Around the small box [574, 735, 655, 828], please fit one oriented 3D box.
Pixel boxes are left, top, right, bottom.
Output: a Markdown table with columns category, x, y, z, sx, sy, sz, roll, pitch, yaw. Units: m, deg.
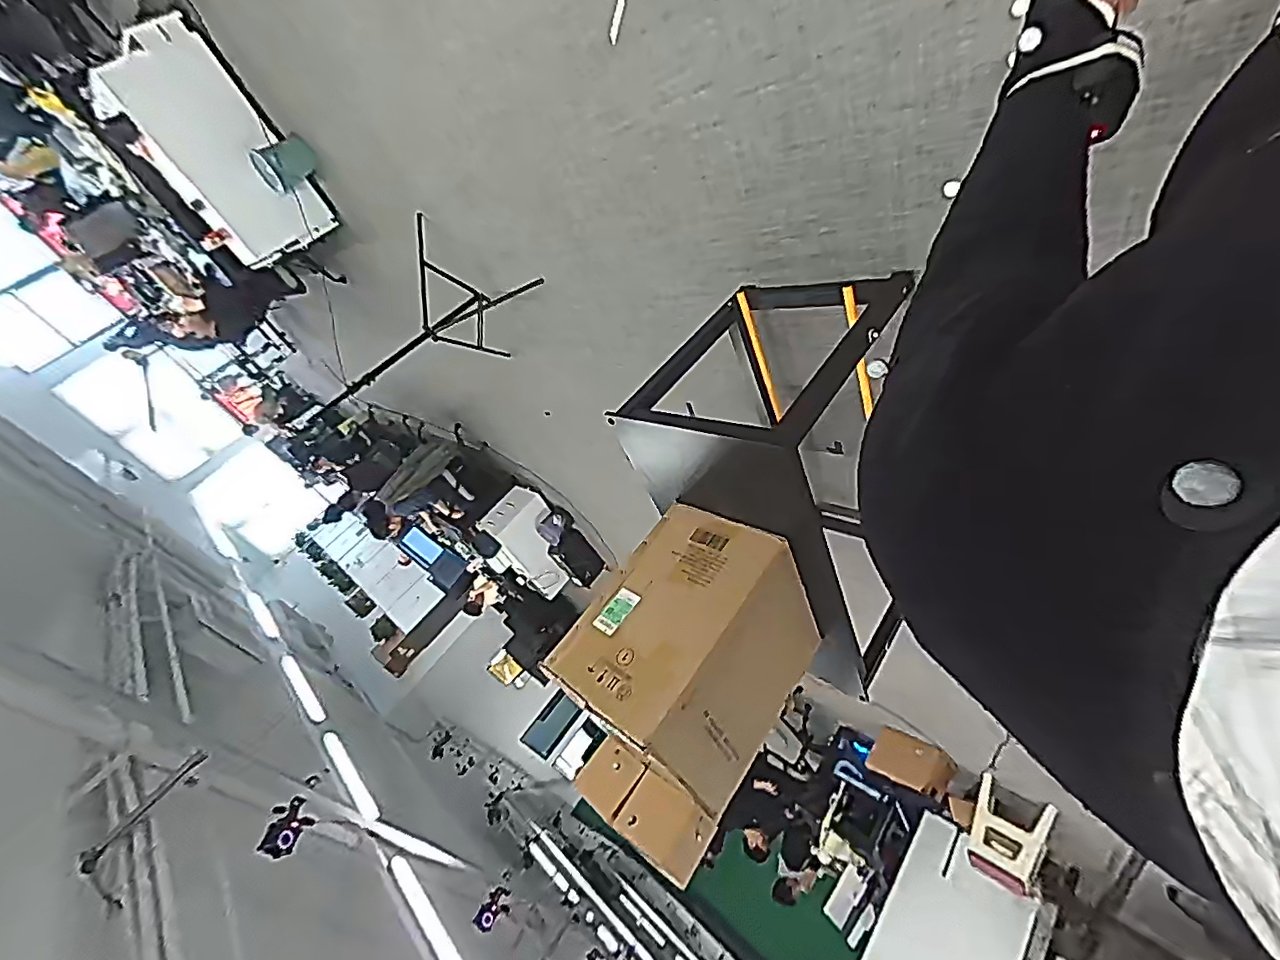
| category | x | y | z | sx | sy | sz | roll | pitch | yaw |
| --- | --- | --- | --- | --- | --- | --- | --- | --- | --- |
| small box | -0.049 | 0.874 | 1.548 | 0.168 | 0.176 | 0.179 | 18 | 146 | 45 |

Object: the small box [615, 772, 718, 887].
| category | x | y | z | sx | sy | sz | roll | pitch | yaw |
| --- | --- | --- | --- | --- | --- | --- | --- | --- | --- |
| small box | 0.072 | 0.903 | 1.415 | 0.179 | 0.176 | 0.168 | 10 | 139 | 45 |
